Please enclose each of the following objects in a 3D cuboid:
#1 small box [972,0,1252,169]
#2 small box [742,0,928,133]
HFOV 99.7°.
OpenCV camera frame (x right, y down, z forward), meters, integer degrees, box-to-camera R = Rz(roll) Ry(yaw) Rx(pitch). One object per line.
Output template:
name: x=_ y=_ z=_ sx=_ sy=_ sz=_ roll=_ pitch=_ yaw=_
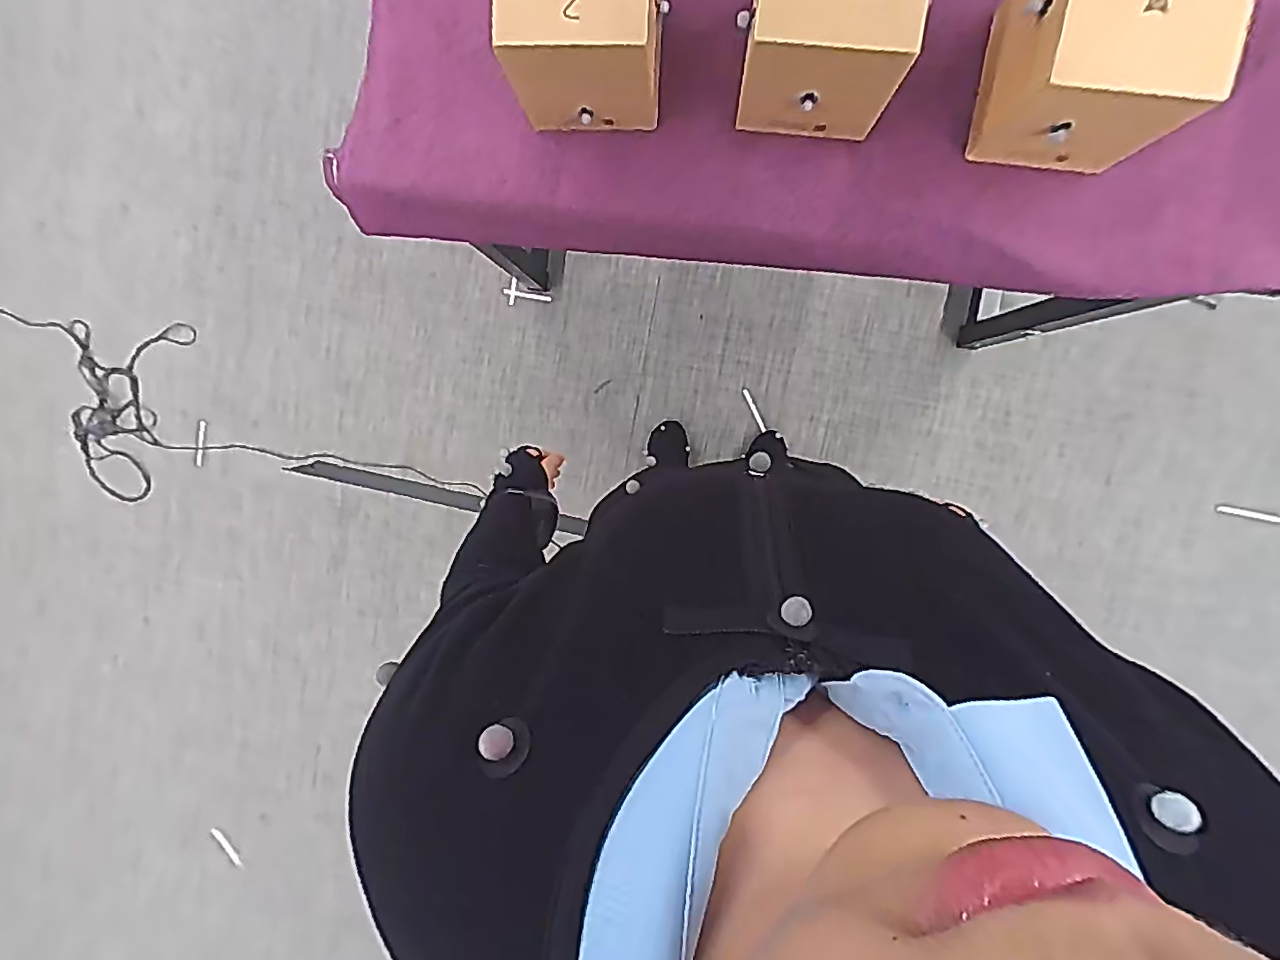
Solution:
small box: x=0.499 y=-0.471 z=0.591 sx=0.168 sy=0.176 sz=0.179 roll=9 pitch=97 yaw=4
small box: x=0.213 y=-0.526 z=0.607 sx=0.168 sy=0.176 sz=0.179 roll=8 pitch=96 yaw=3
